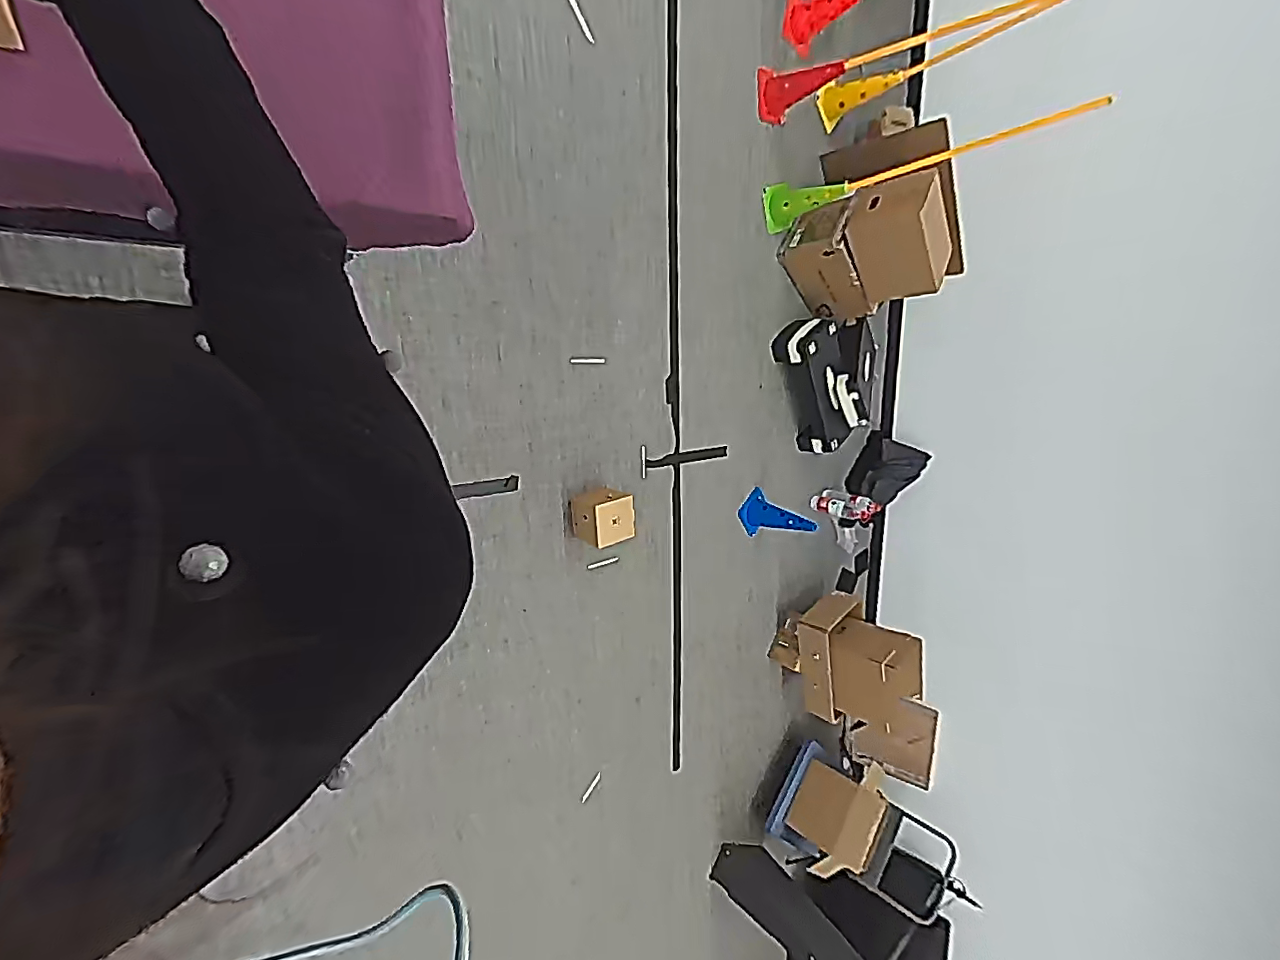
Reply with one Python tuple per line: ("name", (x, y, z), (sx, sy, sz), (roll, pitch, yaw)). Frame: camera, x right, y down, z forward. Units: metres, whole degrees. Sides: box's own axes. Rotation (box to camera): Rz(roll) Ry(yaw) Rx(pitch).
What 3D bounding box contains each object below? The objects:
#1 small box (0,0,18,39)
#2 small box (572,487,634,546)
("small box", (-0.668, -0.500, 0.435), (0.179, 0.176, 0.168), (-17, 110, -39))
("small box", (-0.145, 0.133, 2.030), (0.179, 0.176, 0.168), (-16, 110, -39))
